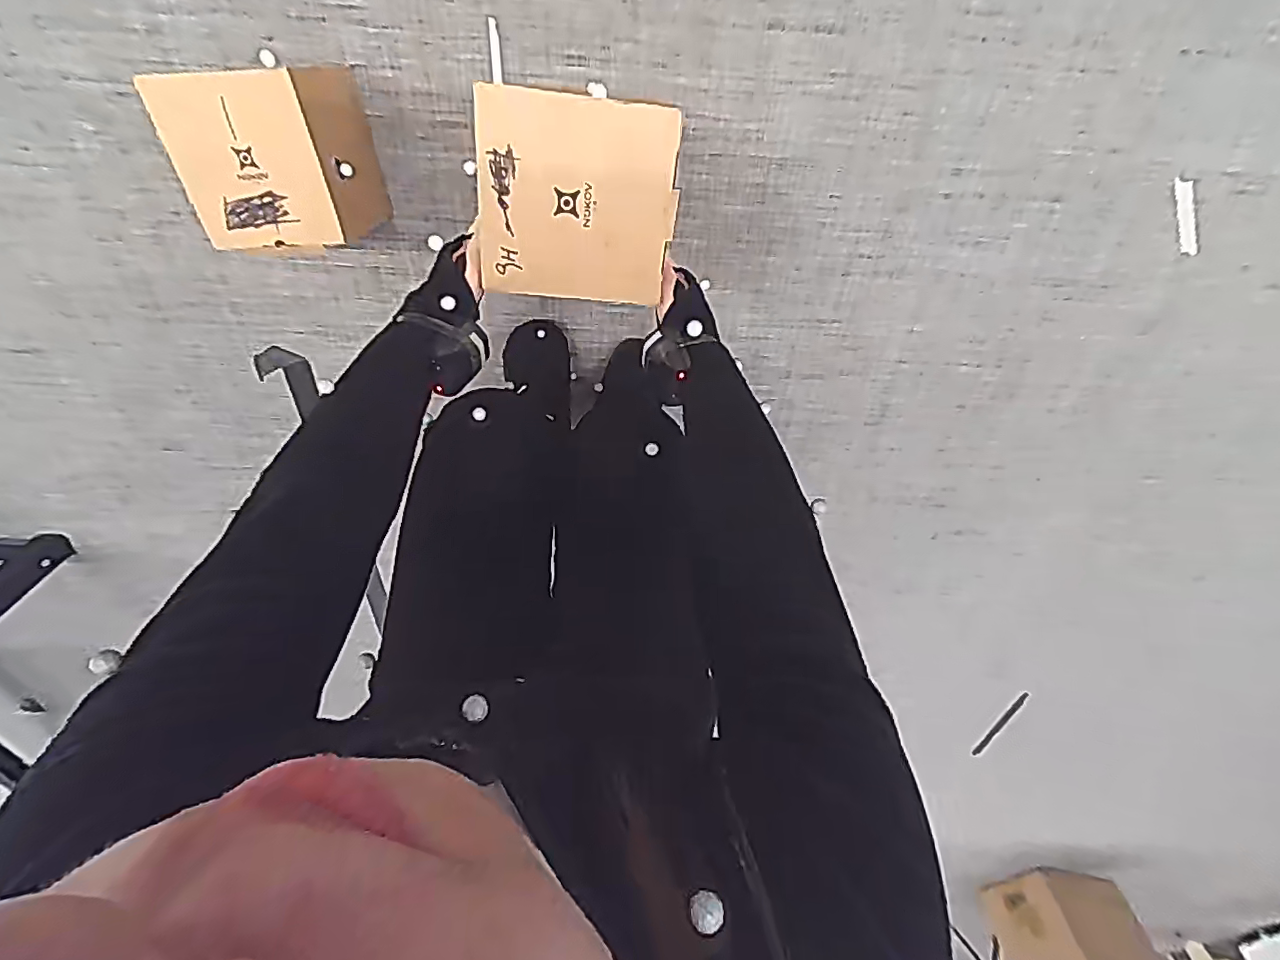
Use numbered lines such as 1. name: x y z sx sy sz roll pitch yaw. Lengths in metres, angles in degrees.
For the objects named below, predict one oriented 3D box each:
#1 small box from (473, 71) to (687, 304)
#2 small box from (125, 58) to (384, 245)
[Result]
1. small box: -0.065 -0.286 0.542 0.179 0.176 0.168 3 120 -9
2. small box: -0.443 -0.404 0.664 0.168 0.176 0.179 -2 128 0
